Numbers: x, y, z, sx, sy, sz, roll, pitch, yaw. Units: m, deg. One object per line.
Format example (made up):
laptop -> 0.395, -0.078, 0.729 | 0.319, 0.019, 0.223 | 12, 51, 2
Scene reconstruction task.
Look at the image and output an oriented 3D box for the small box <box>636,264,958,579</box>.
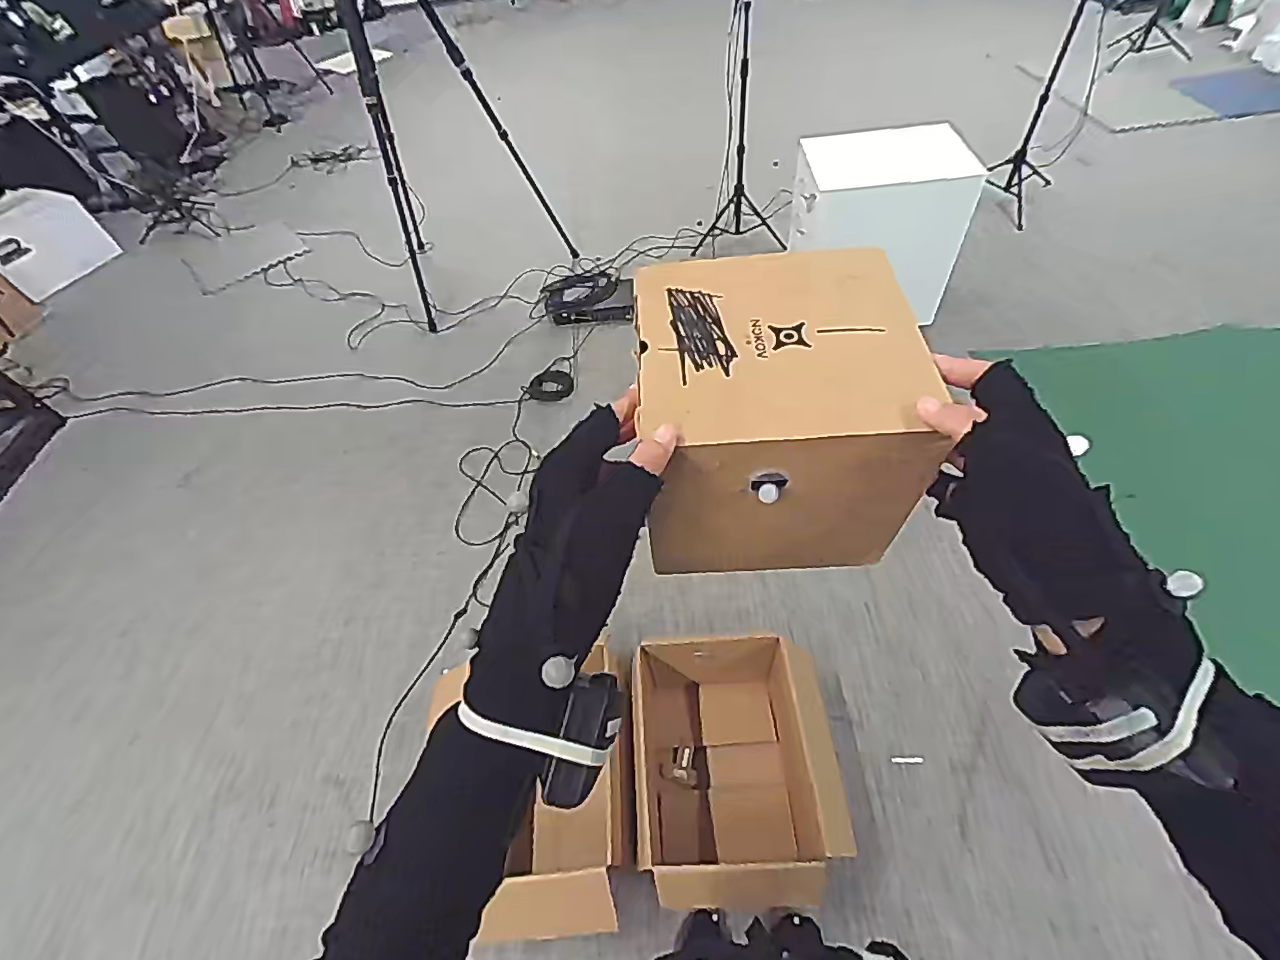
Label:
small box -> 0.092, -0.035, 0.405 | 0.179, 0.176, 0.168 | -3, 55, 3
